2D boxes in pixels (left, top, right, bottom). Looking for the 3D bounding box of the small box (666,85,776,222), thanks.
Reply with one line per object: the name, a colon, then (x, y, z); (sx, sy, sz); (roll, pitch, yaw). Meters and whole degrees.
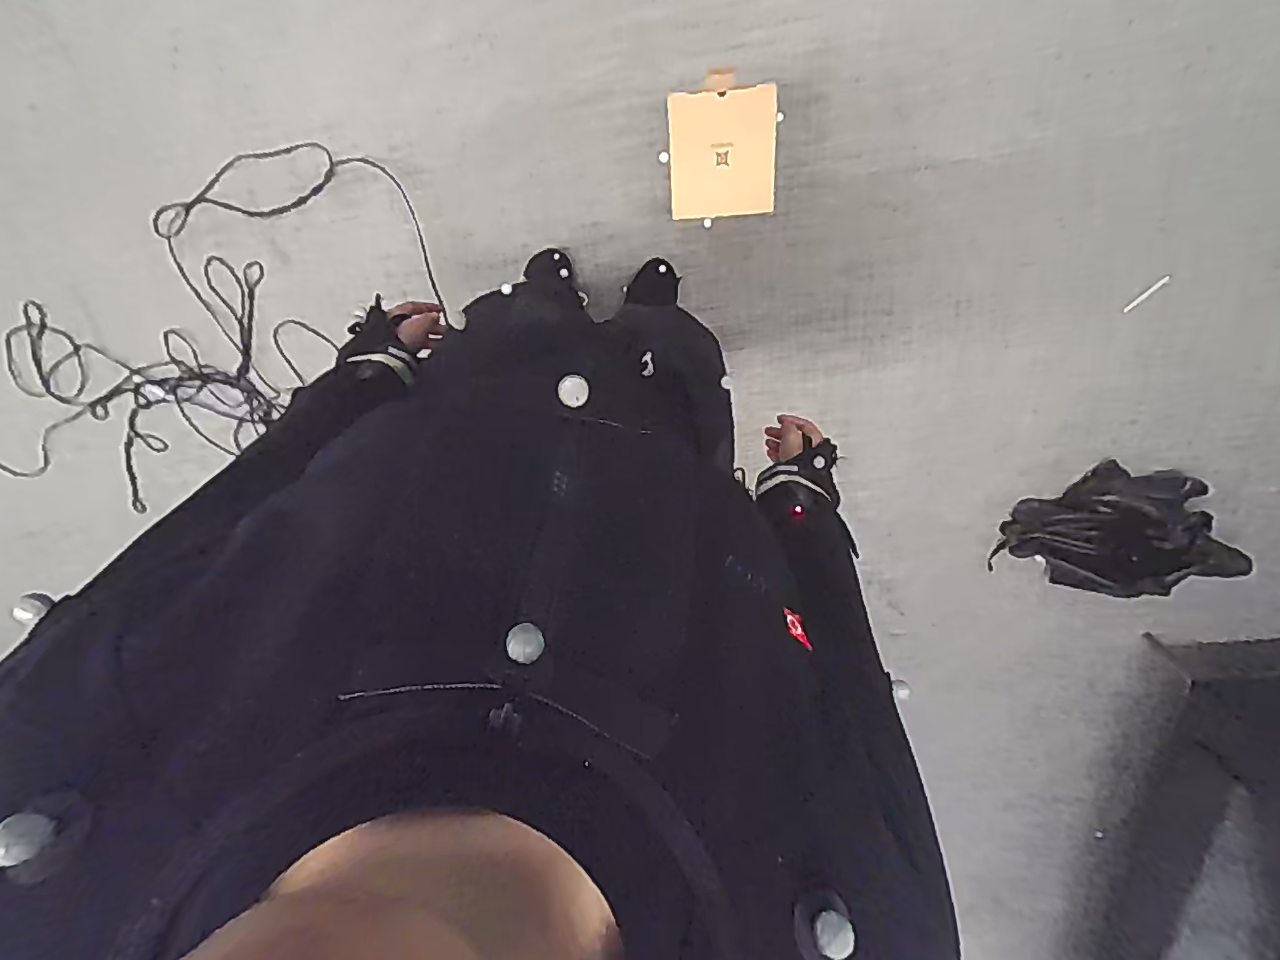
small box: (0.133, -0.542, 0.917); (0.168, 0.176, 0.179); (-2, 115, 5)
